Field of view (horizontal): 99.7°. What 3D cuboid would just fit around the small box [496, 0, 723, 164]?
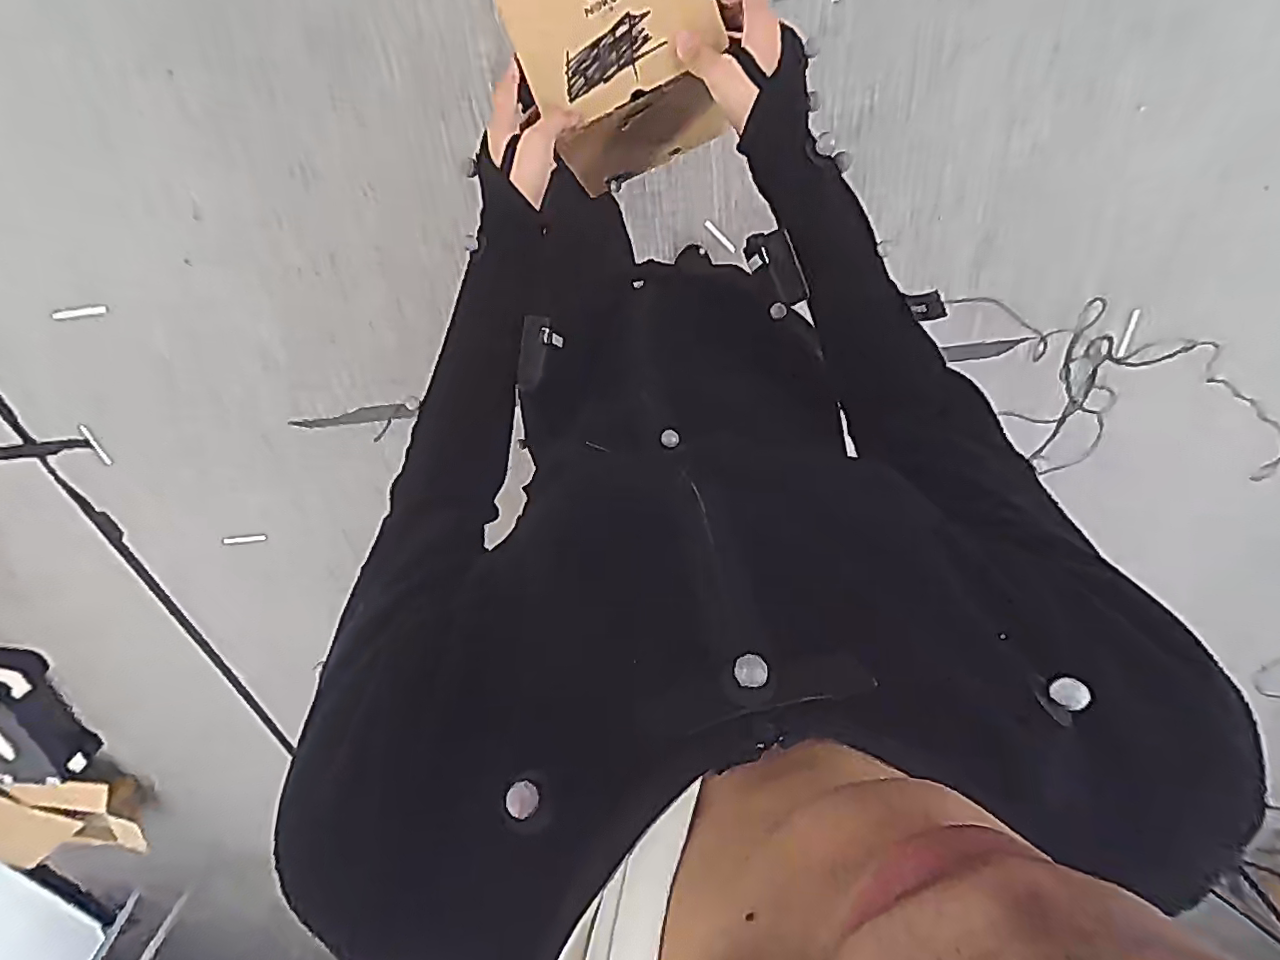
[{"bbox_3d":[-0.028,-0.425,0.500,0.168,0.176,0.179,-20,99,11],"label":"small box"}]
